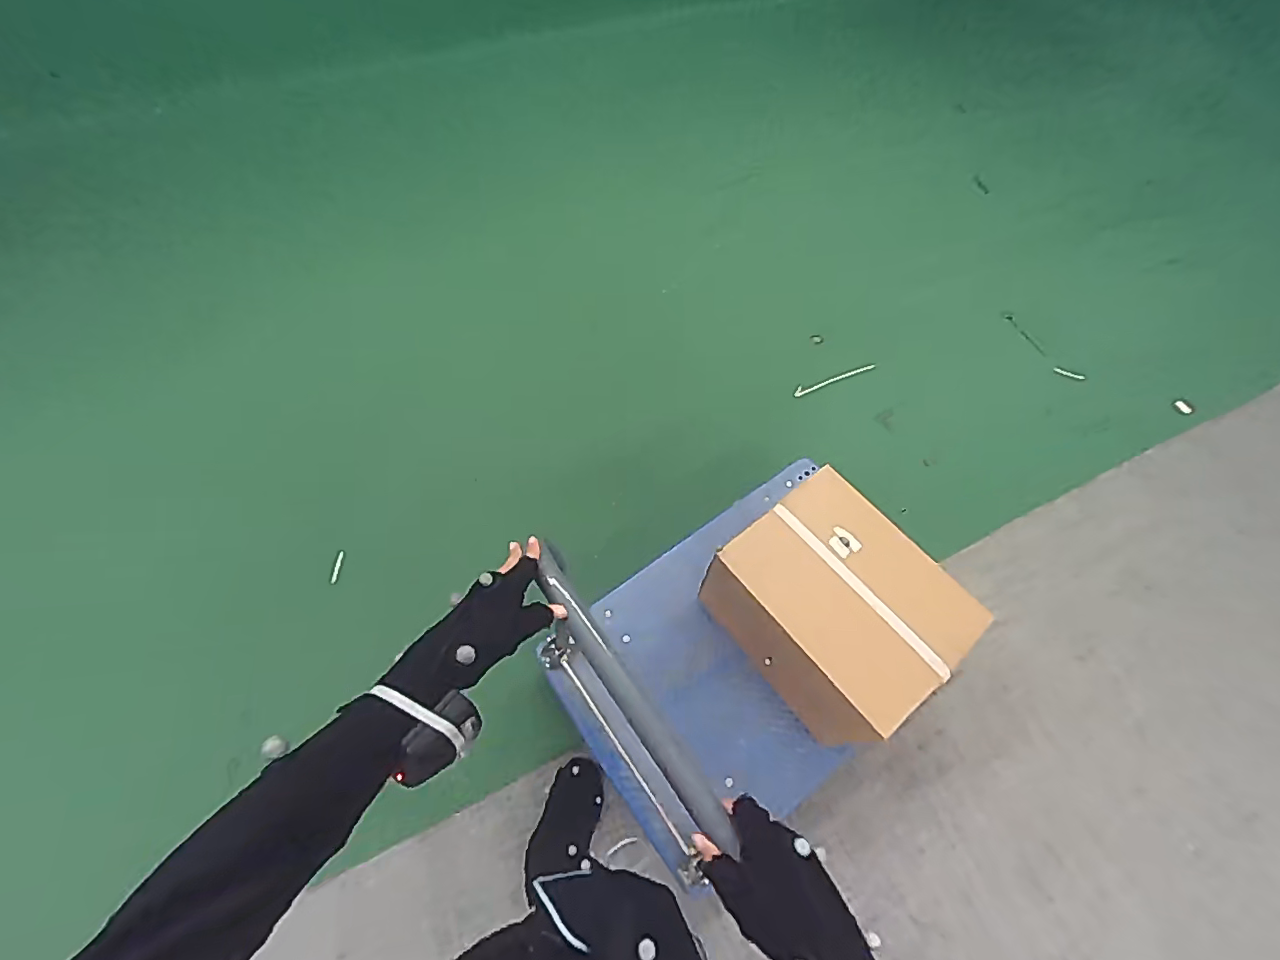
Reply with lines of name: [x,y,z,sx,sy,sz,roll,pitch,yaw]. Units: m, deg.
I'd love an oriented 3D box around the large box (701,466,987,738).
large box: [0.382,0.258,1.121,0.320,0.320,0.408,-35,67,-19]
